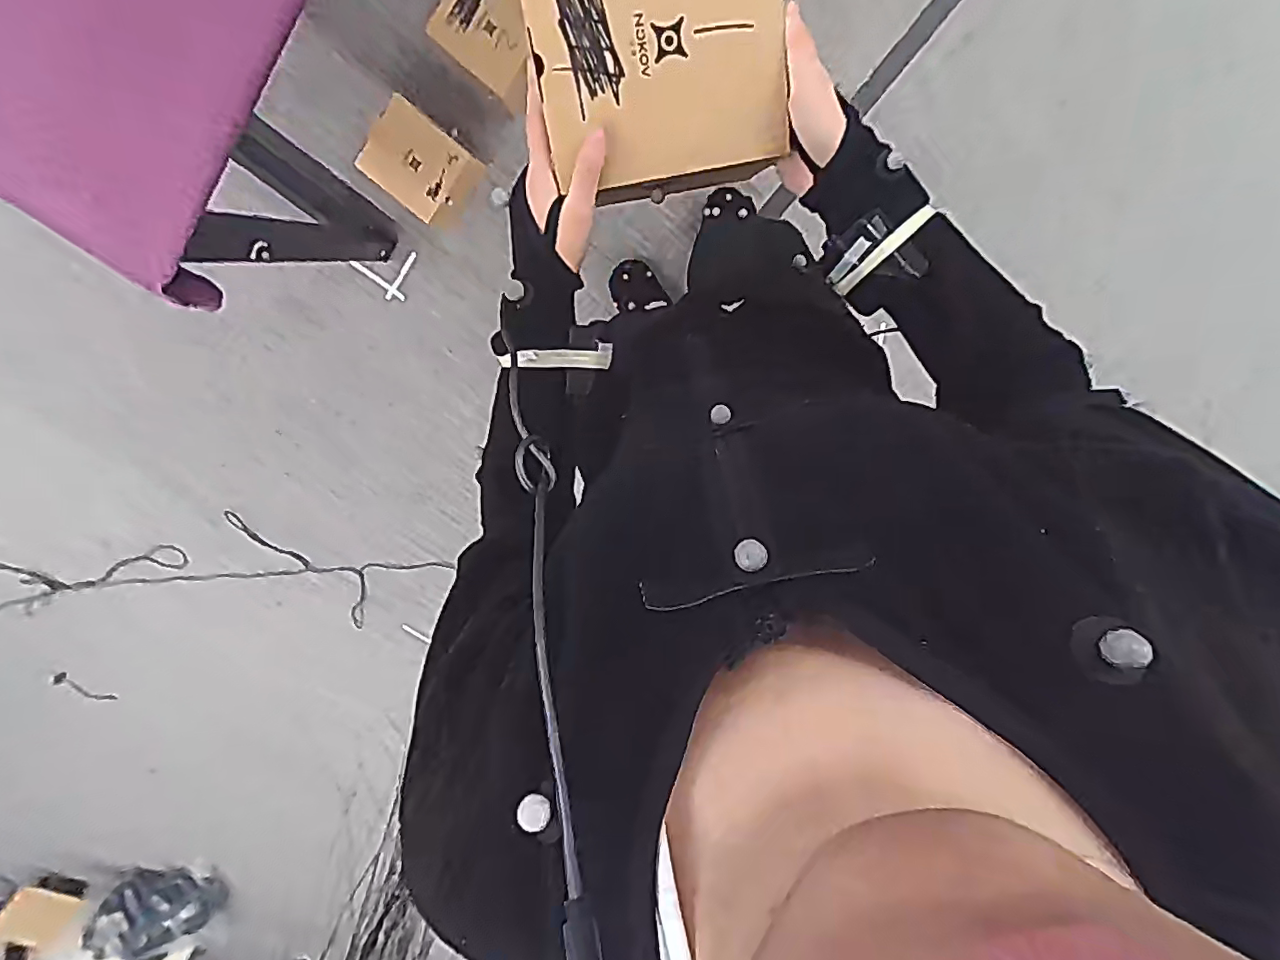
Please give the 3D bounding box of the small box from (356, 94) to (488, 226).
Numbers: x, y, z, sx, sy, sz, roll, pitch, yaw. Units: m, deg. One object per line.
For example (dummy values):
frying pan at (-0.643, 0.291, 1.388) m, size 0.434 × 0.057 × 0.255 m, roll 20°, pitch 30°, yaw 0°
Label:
small box at (-0.460, -0.673, 1.168) m, size 0.179 × 0.176 × 0.168 m, roll 38°, pitch 106°, yaw -14°

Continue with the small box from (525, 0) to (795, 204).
small box at (0.016, -0.330, 0.437) m, size 0.179 × 0.176 × 0.168 m, roll -8°, pitch 113°, yaw 3°
